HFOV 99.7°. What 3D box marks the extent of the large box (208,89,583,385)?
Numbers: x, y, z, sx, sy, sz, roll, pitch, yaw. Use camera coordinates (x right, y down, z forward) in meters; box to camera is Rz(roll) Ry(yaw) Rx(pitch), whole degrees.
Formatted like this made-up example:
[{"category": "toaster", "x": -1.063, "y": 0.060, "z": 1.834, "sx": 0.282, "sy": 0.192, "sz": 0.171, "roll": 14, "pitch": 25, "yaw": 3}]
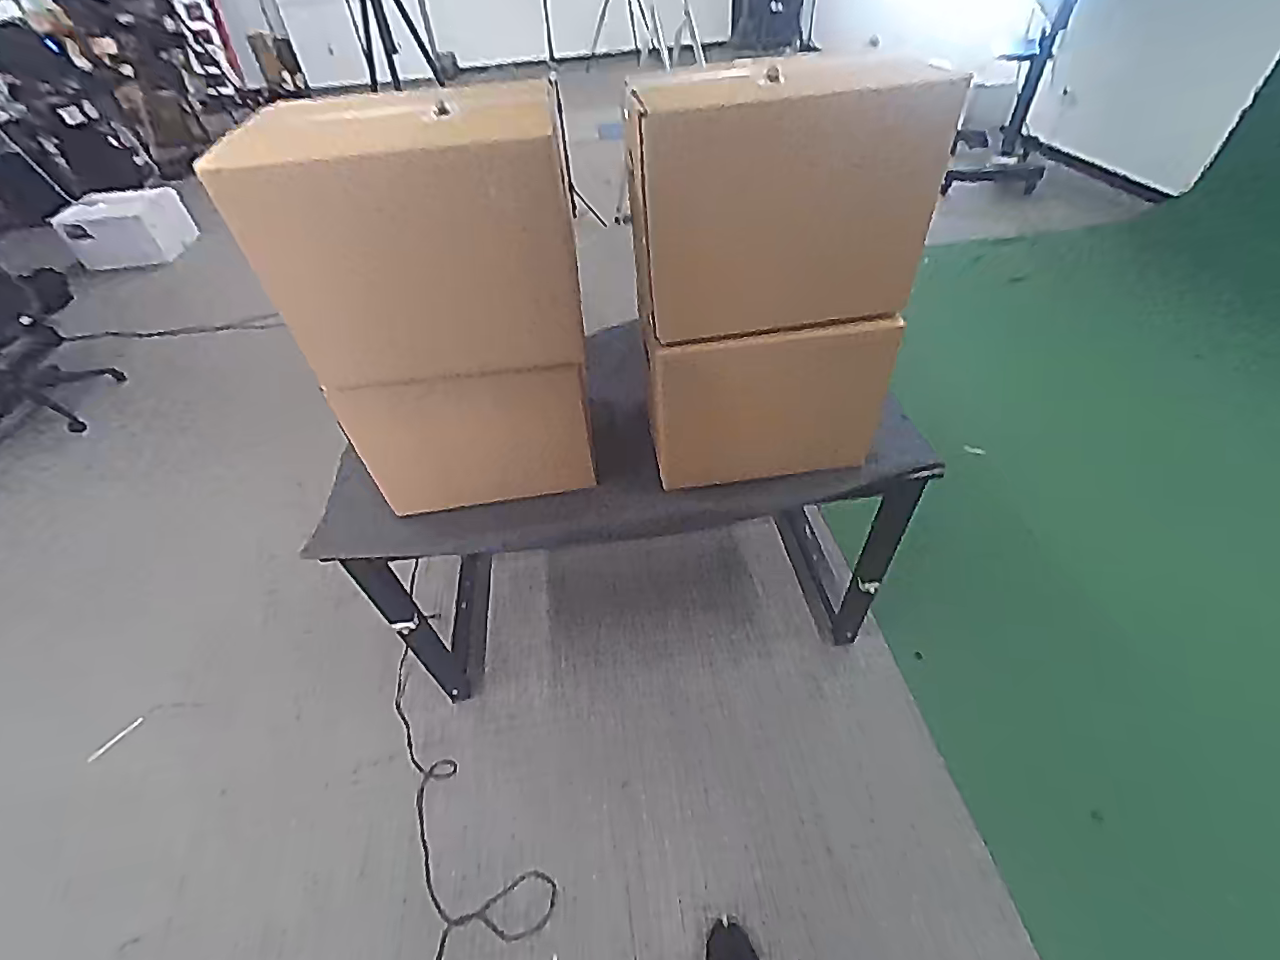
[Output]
[{"category": "large box", "x": -0.309, "y": -0.374, "z": 0.830, "sx": 0.408, "sy": 0.320, "sz": 0.320, "roll": -6, "pitch": 47, "yaw": -4}]
